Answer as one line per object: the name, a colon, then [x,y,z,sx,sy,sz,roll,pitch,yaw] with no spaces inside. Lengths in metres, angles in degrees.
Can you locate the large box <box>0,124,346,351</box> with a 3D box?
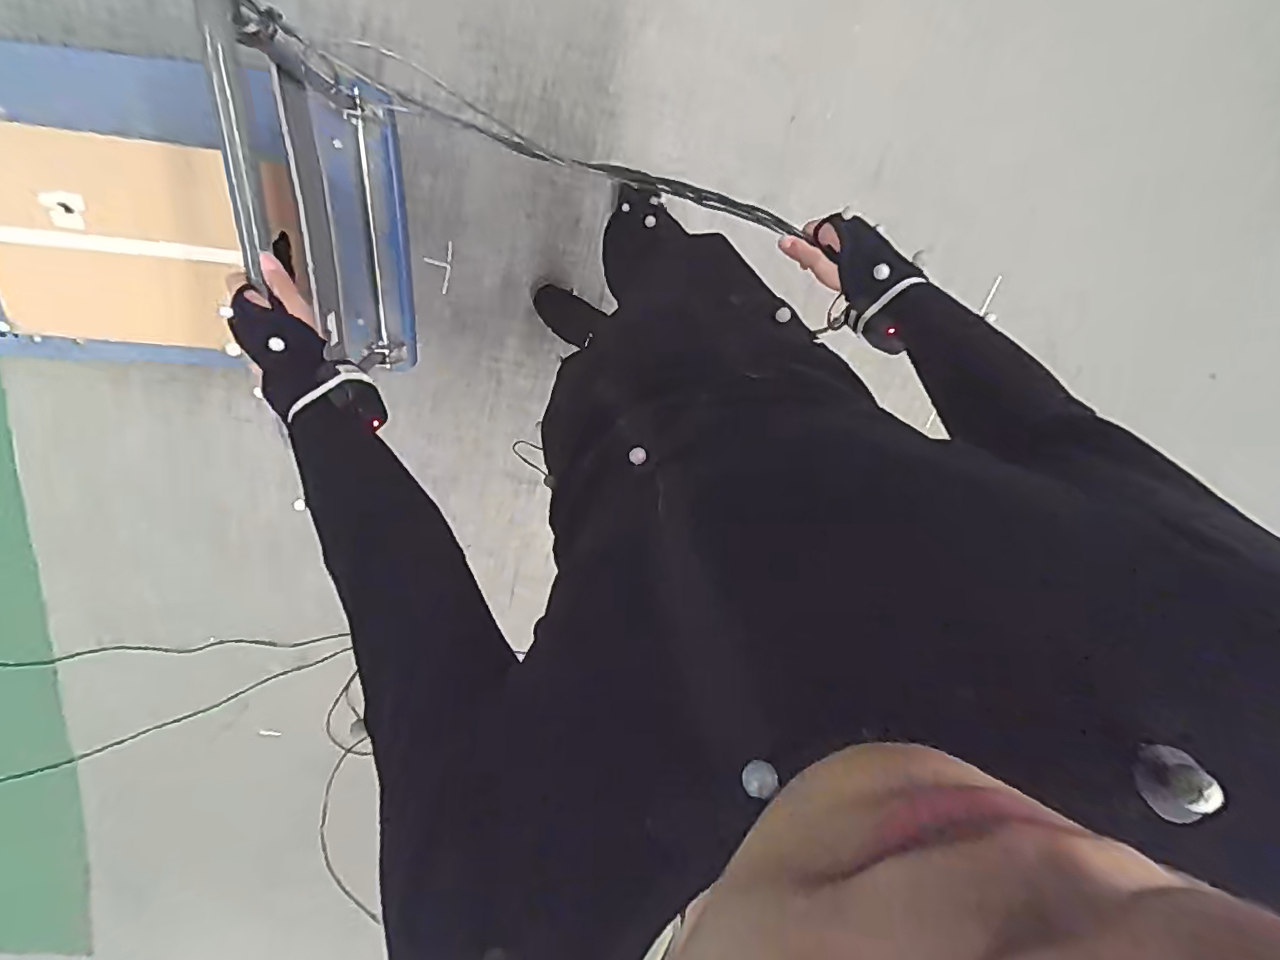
large box: [-0.832,-0.442,1.011,0.408,0.320,0.320,3,114,-9]
